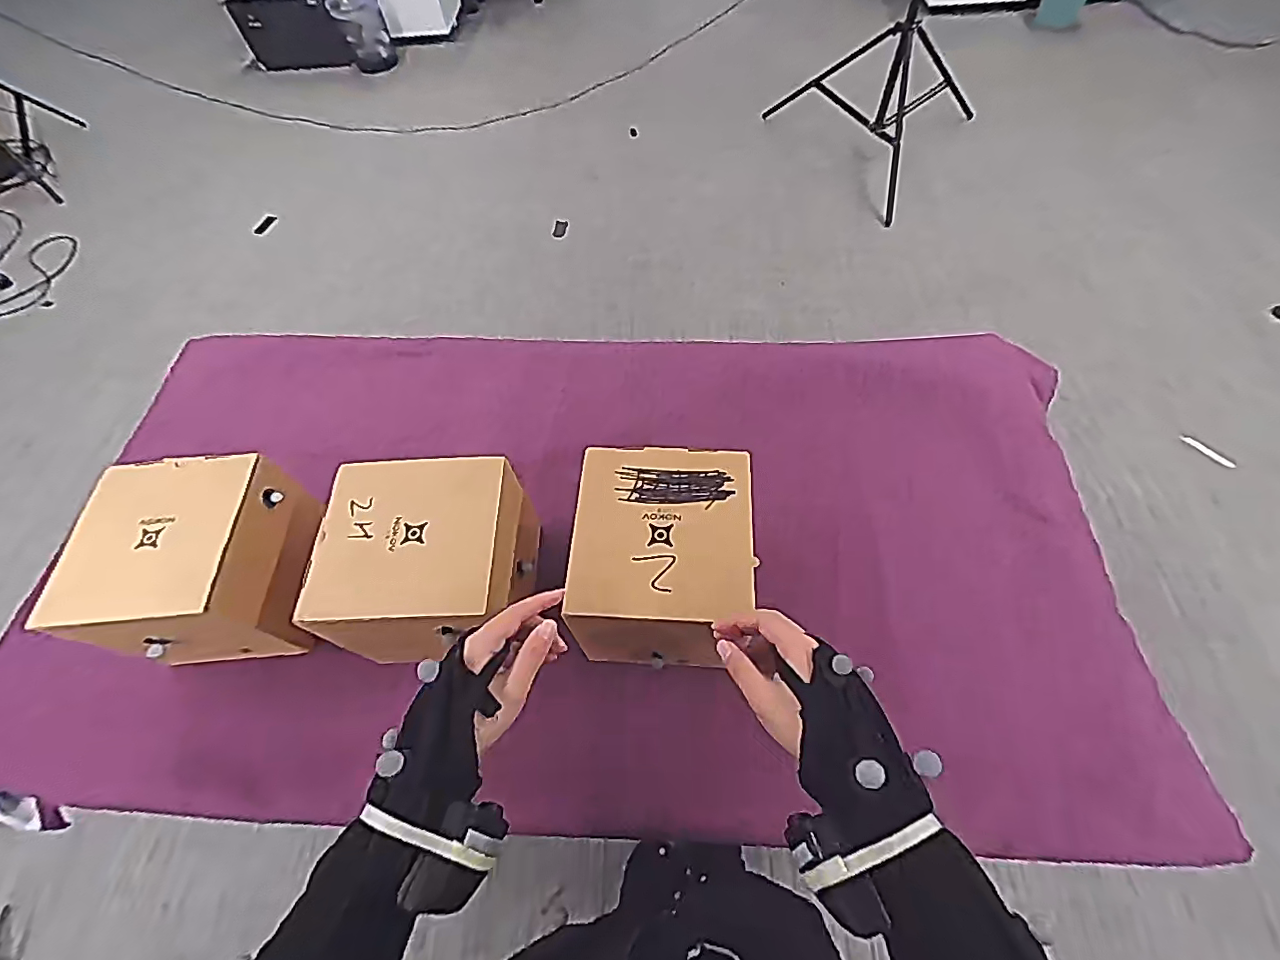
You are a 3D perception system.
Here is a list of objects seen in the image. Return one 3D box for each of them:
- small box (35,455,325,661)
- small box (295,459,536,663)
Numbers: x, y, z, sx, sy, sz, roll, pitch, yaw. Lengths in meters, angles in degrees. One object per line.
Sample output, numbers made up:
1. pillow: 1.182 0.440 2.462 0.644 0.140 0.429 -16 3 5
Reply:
1. small box: -0.471 0.095 0.600 0.168 0.176 0.179 -6 59 1
2. small box: -0.215 0.092 0.580 0.179 0.176 0.168 -3 58 1
